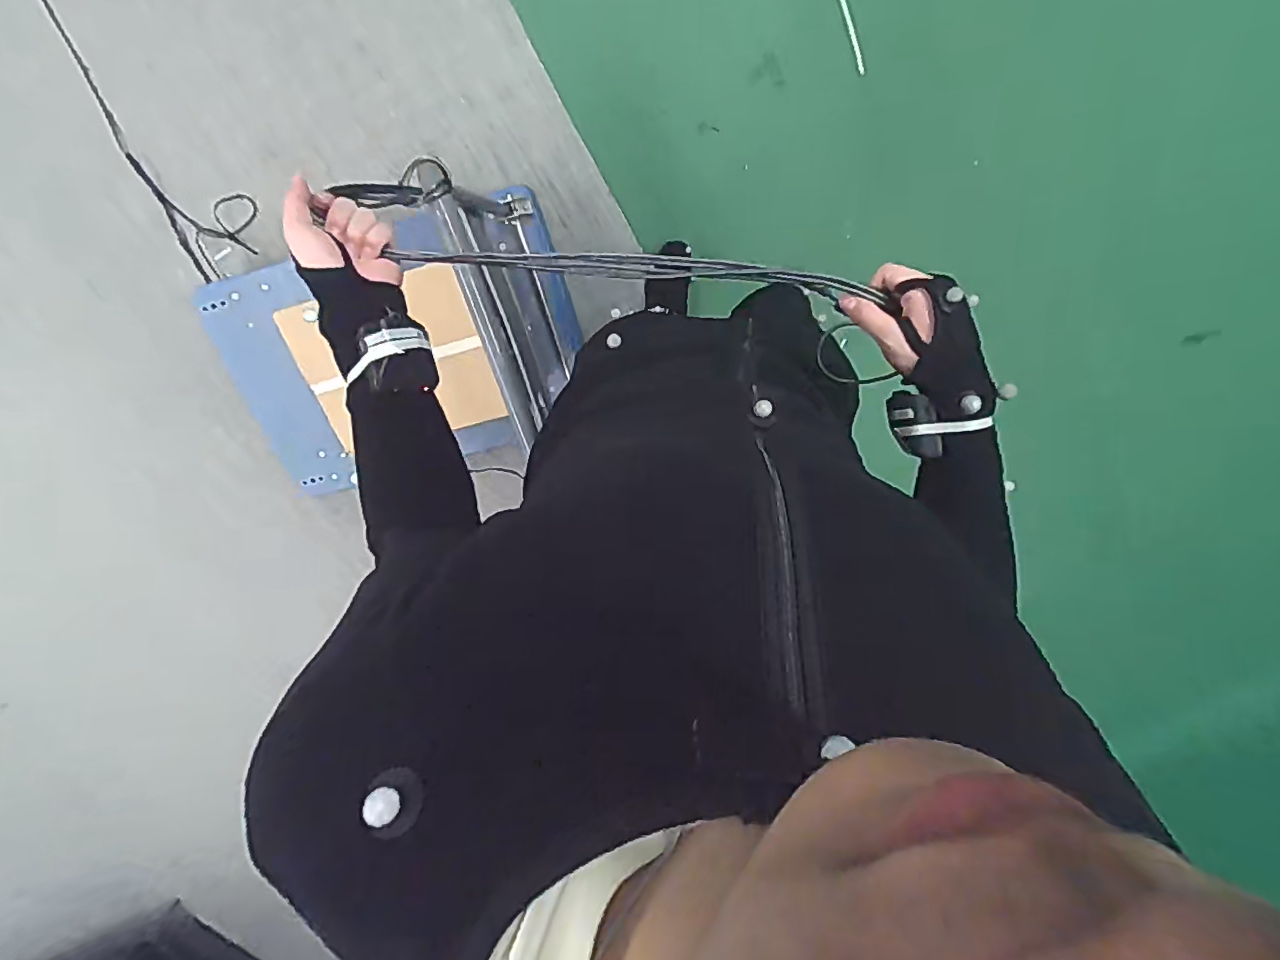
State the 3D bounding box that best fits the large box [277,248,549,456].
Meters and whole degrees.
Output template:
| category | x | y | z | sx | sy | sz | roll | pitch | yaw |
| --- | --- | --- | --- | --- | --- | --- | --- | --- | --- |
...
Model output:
| category | x | y | z | sx | sy | sz | roll | pitch | yaw |
| --- | --- | --- | --- | --- | --- | --- | --- | --- | --- |
| large box | -0.459 | -0.295 | 1.194 | 0.408 | 0.320 | 0.320 | -15 | 112 | 6 |
